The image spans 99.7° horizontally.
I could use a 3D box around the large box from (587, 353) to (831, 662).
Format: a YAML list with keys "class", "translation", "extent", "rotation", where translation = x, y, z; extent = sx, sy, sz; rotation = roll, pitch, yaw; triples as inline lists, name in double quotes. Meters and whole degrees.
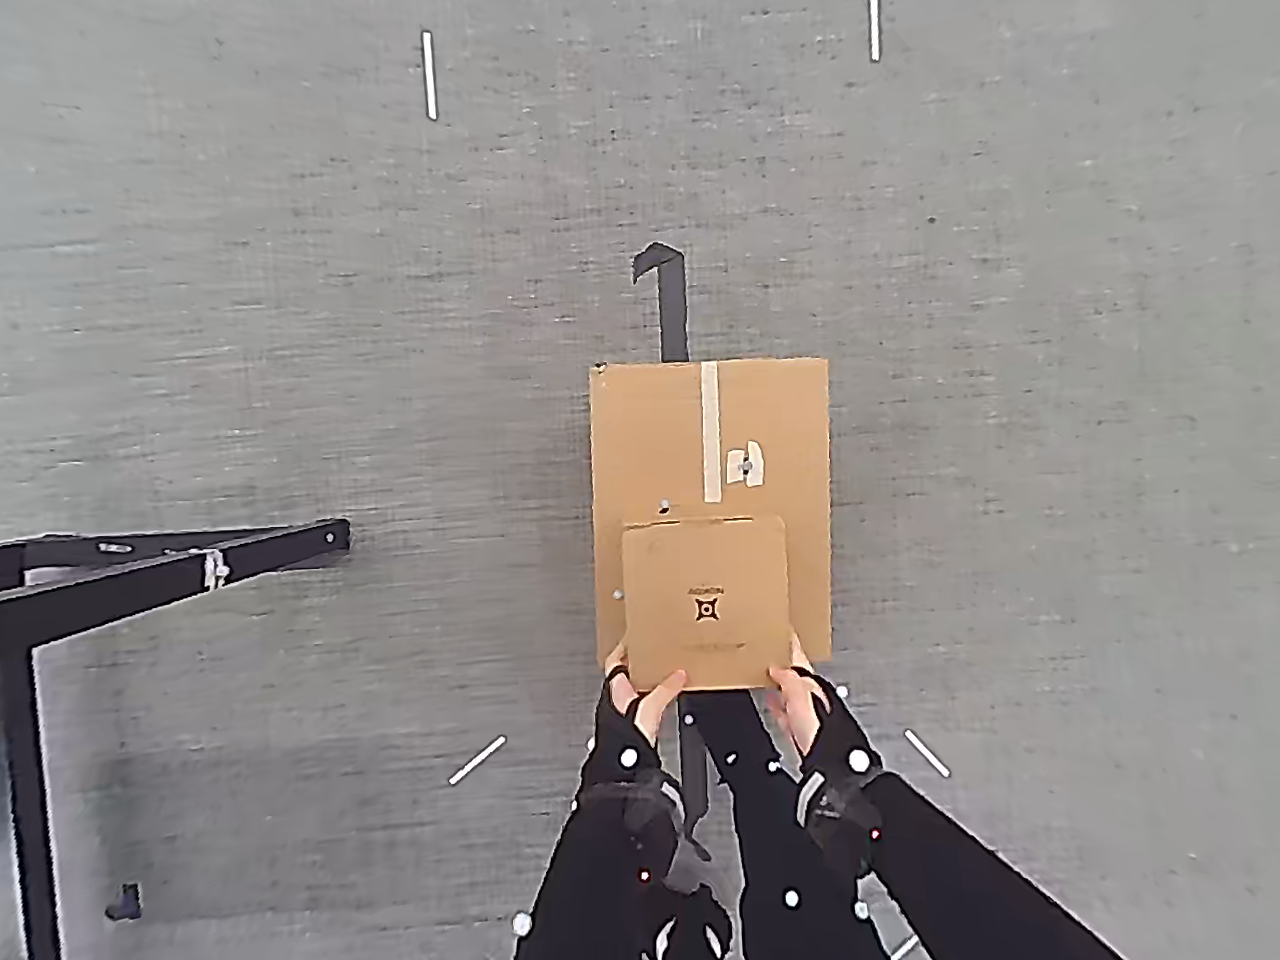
- class: "large box"
  translation: [0.094, 0.035, 0.860]
  extent: [0.320, 0.320, 0.408]
  rotation: [-2, 92, 0]

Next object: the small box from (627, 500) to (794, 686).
- class: "small box"
  translation: [0.071, 0.115, 0.619]
  extent: [0.168, 0.176, 0.179]
  rotation: [-3, 93, 2]
